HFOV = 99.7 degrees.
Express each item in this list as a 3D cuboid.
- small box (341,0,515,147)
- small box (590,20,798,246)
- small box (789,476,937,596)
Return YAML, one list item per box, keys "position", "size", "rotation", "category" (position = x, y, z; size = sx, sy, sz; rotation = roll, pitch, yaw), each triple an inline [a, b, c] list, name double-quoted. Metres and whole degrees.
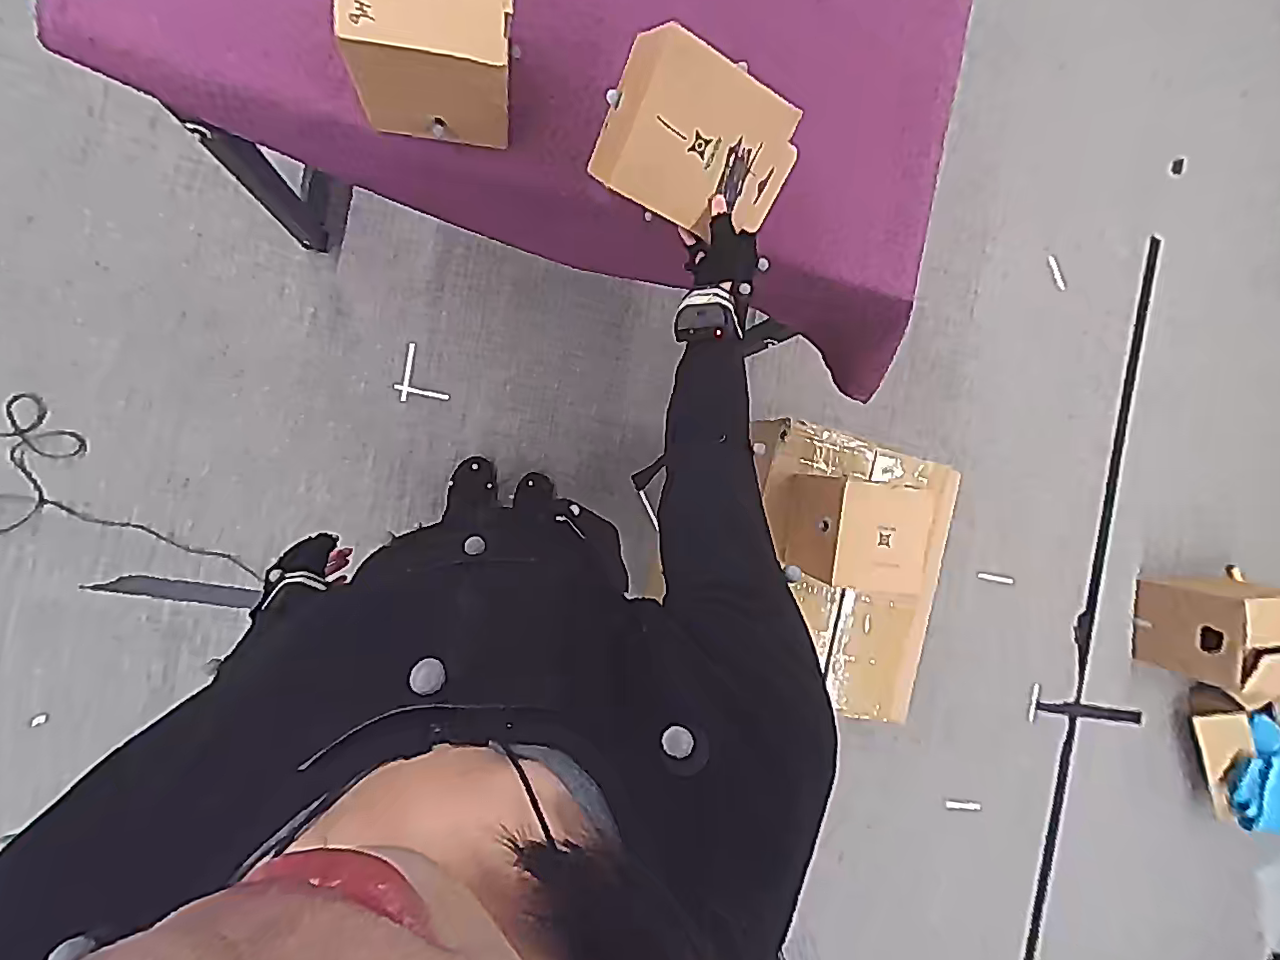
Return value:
- position: [-0.245, -0.541, 0.658]
  size: [0.179, 0.176, 0.168]
  rotation: [1, 91, -14]
  category: "small box"
- position: [0.054, -0.424, 0.676]
  size: [0.179, 0.176, 0.168]
  rotation: [16, 117, -24]
  category: "small box"
- position: [0.374, 0.088, 0.933]
  size: [0.168, 0.176, 0.179]
  rotation: [7, 91, -11]
  category: "small box"
